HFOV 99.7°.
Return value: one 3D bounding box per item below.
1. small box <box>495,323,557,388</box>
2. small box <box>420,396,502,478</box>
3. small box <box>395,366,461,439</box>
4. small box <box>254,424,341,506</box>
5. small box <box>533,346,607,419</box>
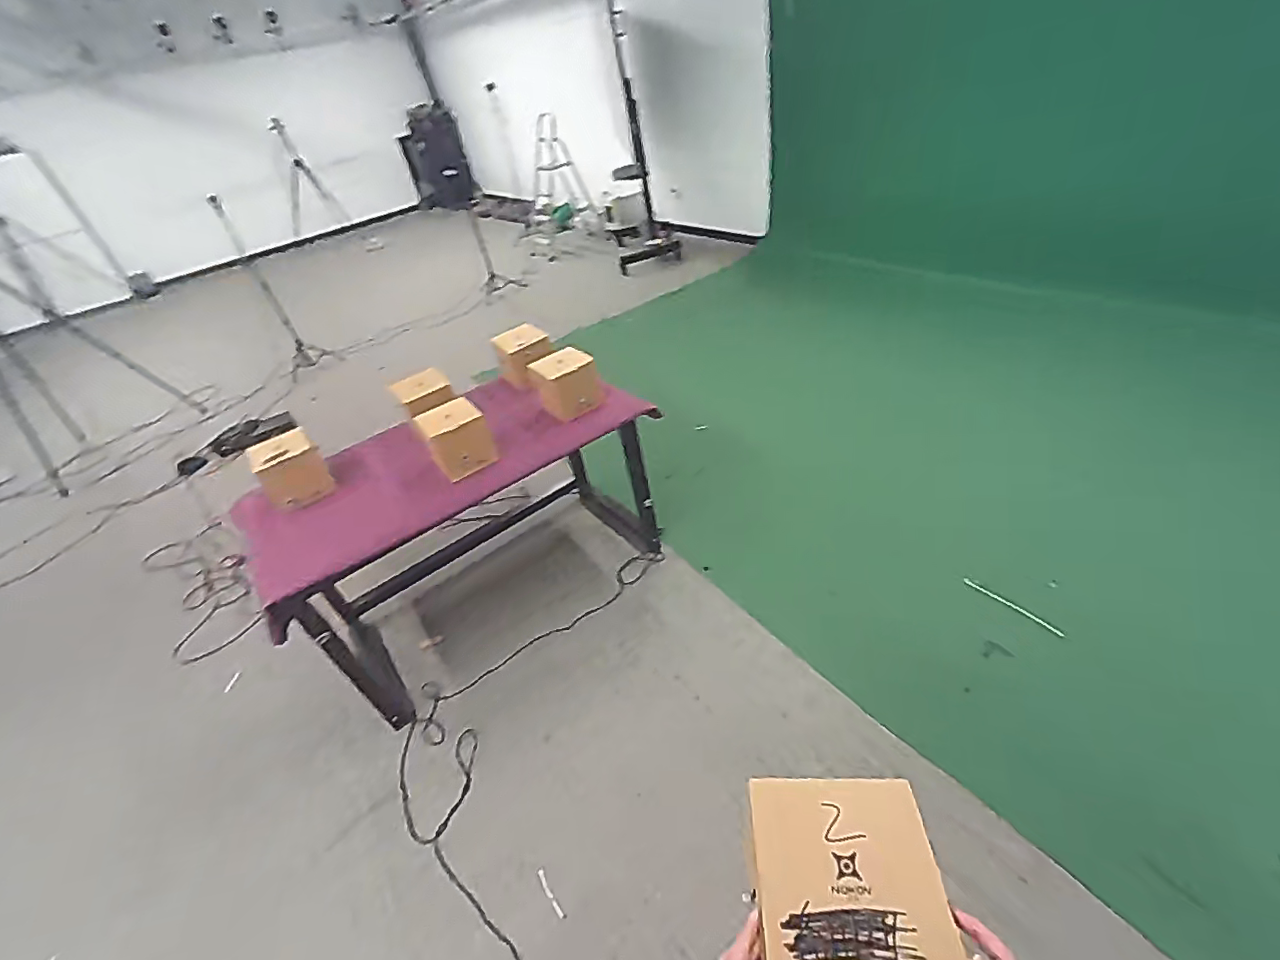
[{"bbox_3d":[-0.422,-0.471,2.054,0.168,0.176,0.179,-32,44,-21],"label":"small box"},{"bbox_3d":[-0.554,-0.134,1.682,0.168,0.176,0.179,-30,41,-22],"label":"small box"},{"bbox_3d":[-0.723,-0.269,1.891,0.168,0.176,0.179,-30,44,-21],"label":"small box"},{"bbox_3d":[-1.070,-0.041,1.695,0.168,0.176,0.179,-30,43,-22],"label":"small box"},{"bbox_3d":[-0.235,-0.330,1.833,0.168,0.176,0.179,-31,41,-20],"label":"small box"}]
